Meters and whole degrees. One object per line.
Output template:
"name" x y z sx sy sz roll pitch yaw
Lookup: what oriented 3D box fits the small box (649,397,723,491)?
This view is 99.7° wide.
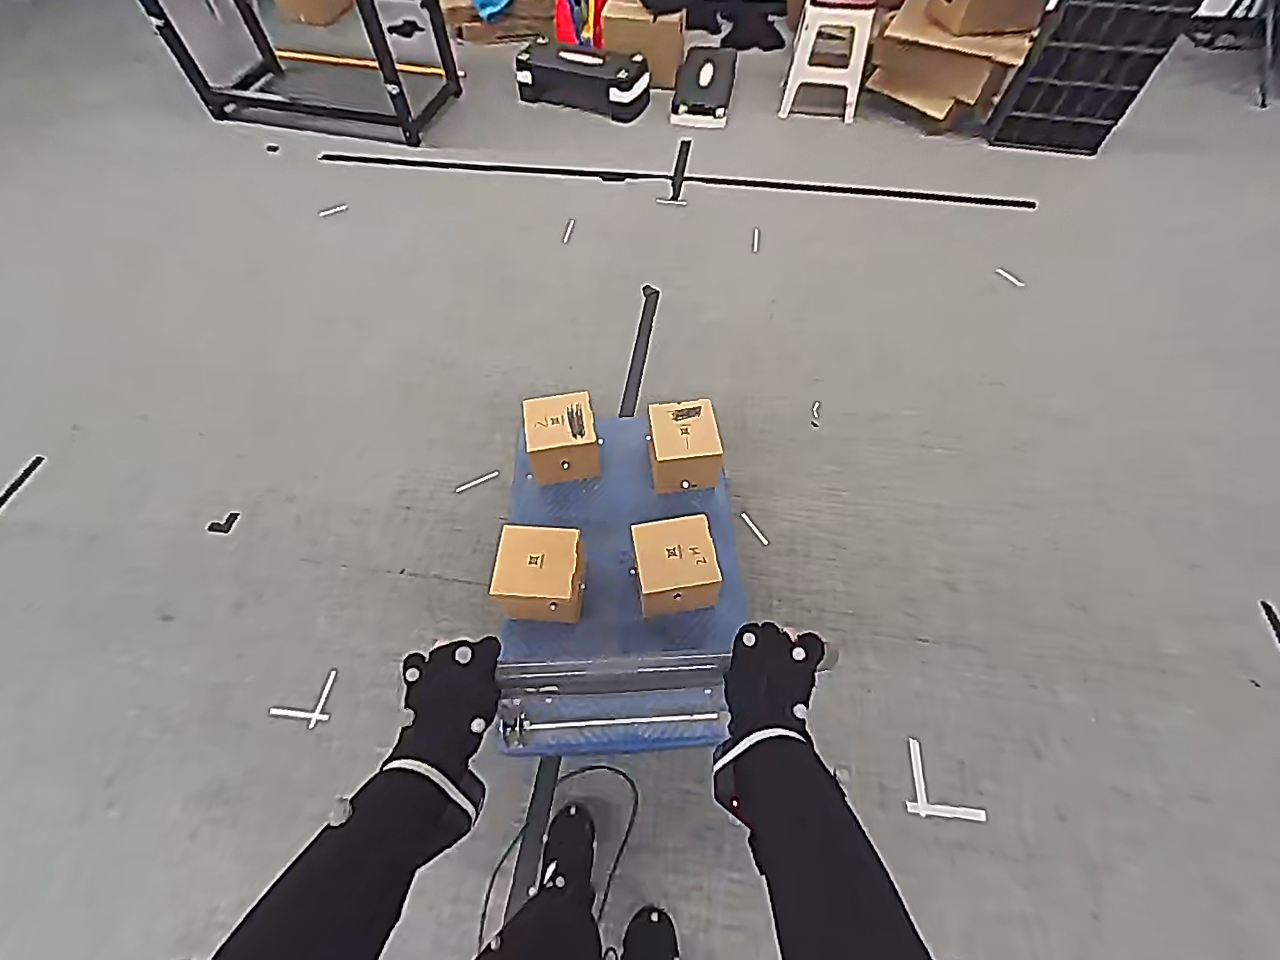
"small box" 0.113 -0.092 1.421 0.168 0.176 0.179 -6 60 -3

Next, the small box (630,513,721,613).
"small box" 0.078 0.196 1.248 0.179 0.176 0.168 -8 59 -4

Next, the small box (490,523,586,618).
"small box" -0.226 0.212 1.243 0.179 0.176 0.168 3 59 1
